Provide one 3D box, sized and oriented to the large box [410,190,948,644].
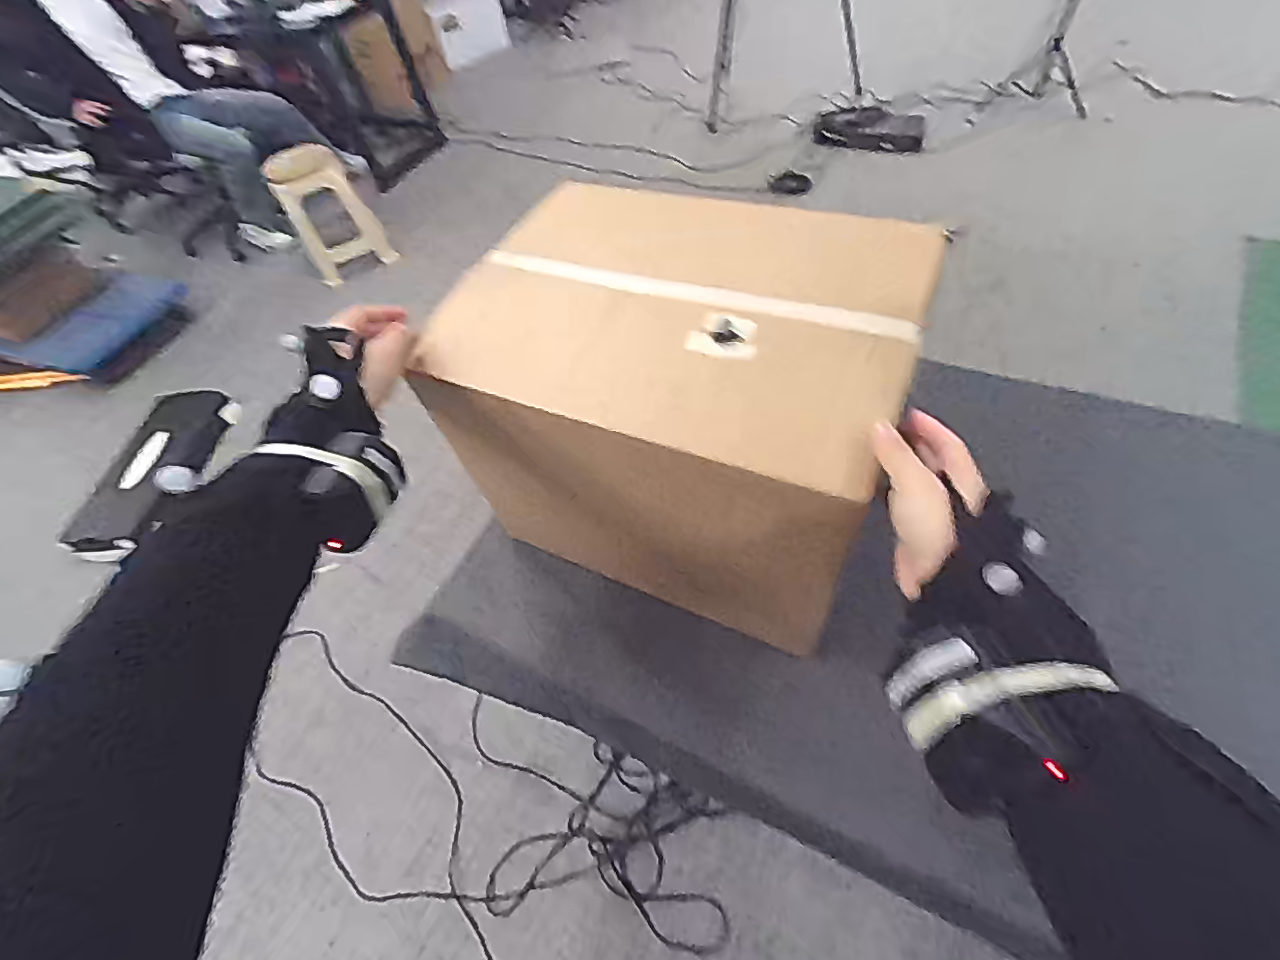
[{"bbox_3d":[0.053,-0.075,0.600,0.408,0.320,0.320,18,60,19],"label":"large box"}]
